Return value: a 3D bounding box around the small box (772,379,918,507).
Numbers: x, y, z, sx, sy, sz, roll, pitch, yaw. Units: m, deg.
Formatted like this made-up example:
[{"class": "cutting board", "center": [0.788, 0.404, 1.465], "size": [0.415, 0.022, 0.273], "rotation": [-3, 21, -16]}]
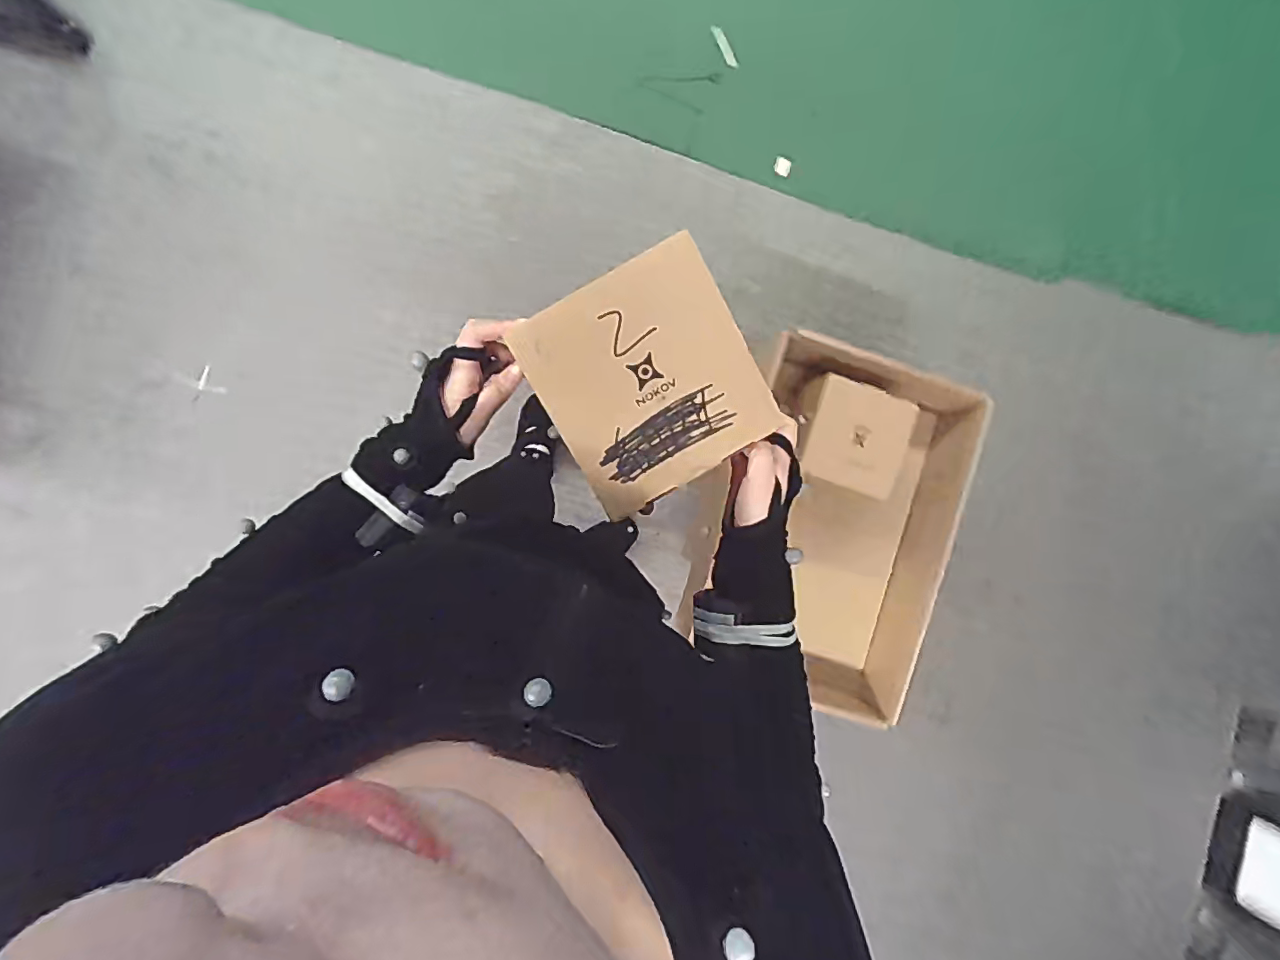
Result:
[{"class": "small box", "center": [0.360, -0.059, 0.981], "size": [0.168, 0.176, 0.179], "rotation": [20, 87, -3]}]
